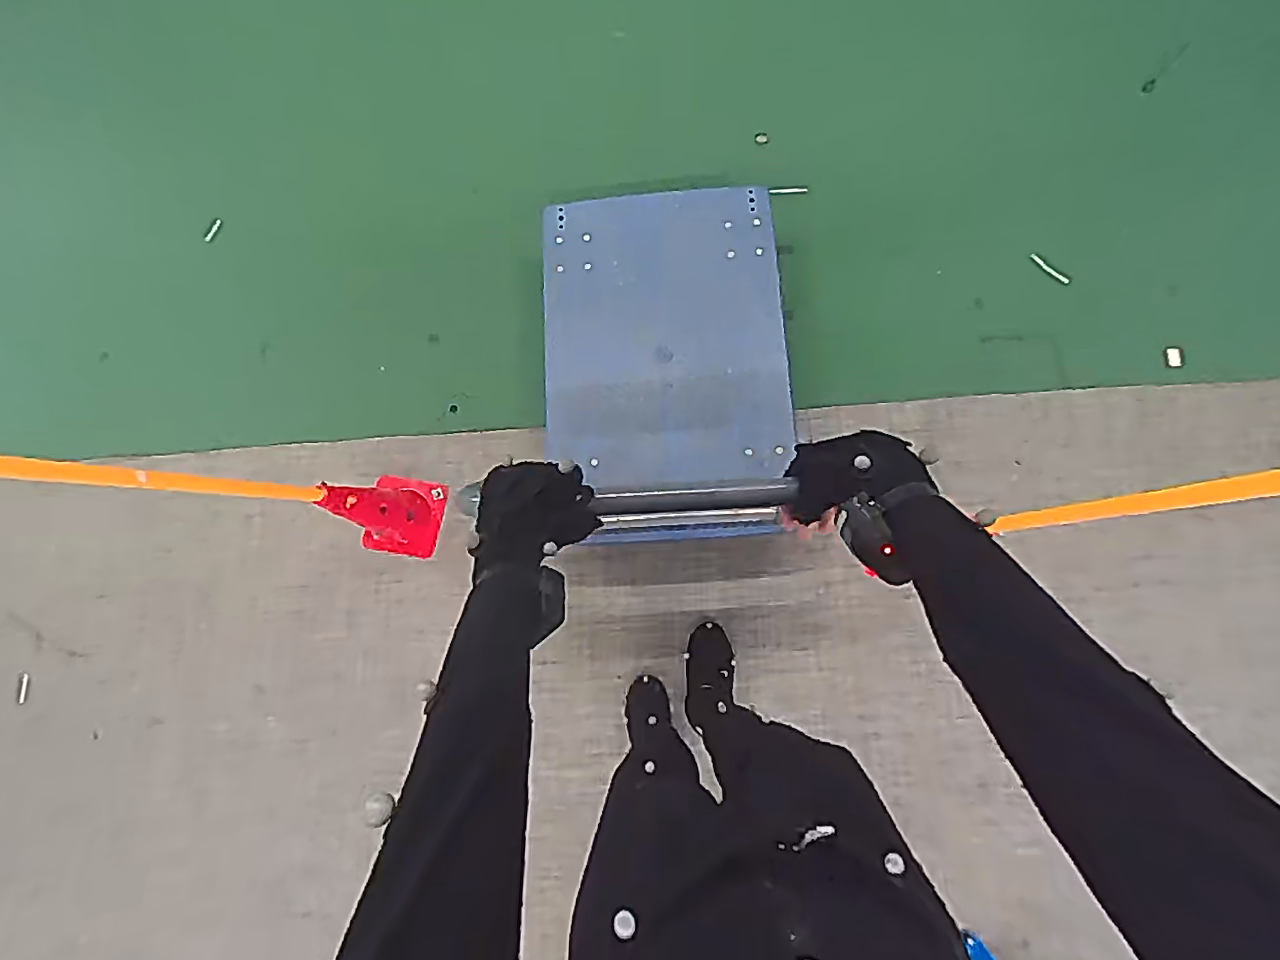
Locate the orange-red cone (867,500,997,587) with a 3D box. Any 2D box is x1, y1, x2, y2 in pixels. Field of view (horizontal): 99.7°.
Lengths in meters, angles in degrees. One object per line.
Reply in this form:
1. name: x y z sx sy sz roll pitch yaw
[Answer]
1. orange-red cone: 0.654 0.124 1.166 0.198 0.360 0.199 7 80 6
